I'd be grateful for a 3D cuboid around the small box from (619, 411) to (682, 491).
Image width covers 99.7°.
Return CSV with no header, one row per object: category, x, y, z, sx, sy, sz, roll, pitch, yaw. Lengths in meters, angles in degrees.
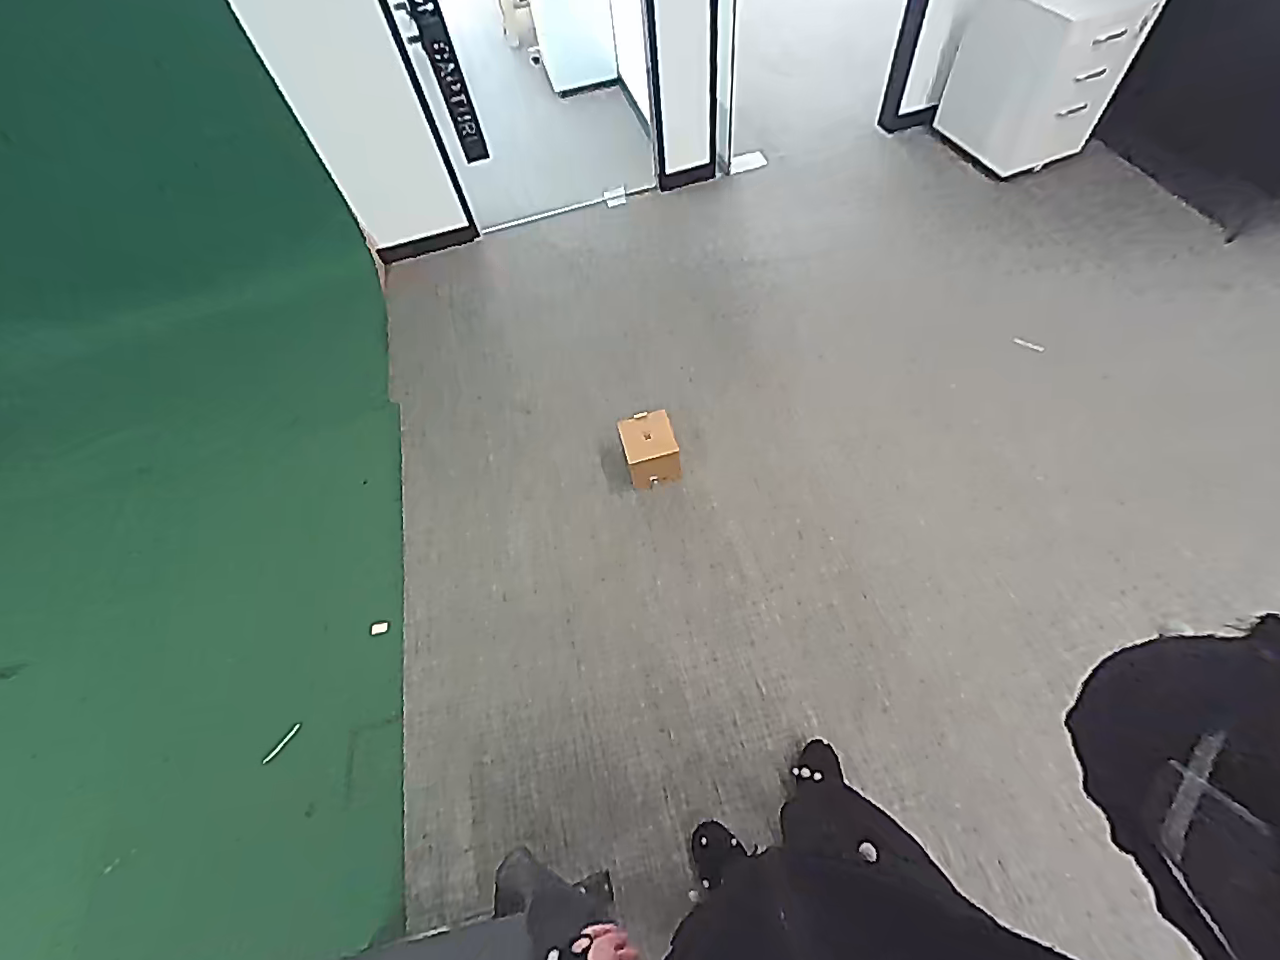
small box,0.035,-0.091,1.765,0.168,0.176,0.179,-14,58,1
